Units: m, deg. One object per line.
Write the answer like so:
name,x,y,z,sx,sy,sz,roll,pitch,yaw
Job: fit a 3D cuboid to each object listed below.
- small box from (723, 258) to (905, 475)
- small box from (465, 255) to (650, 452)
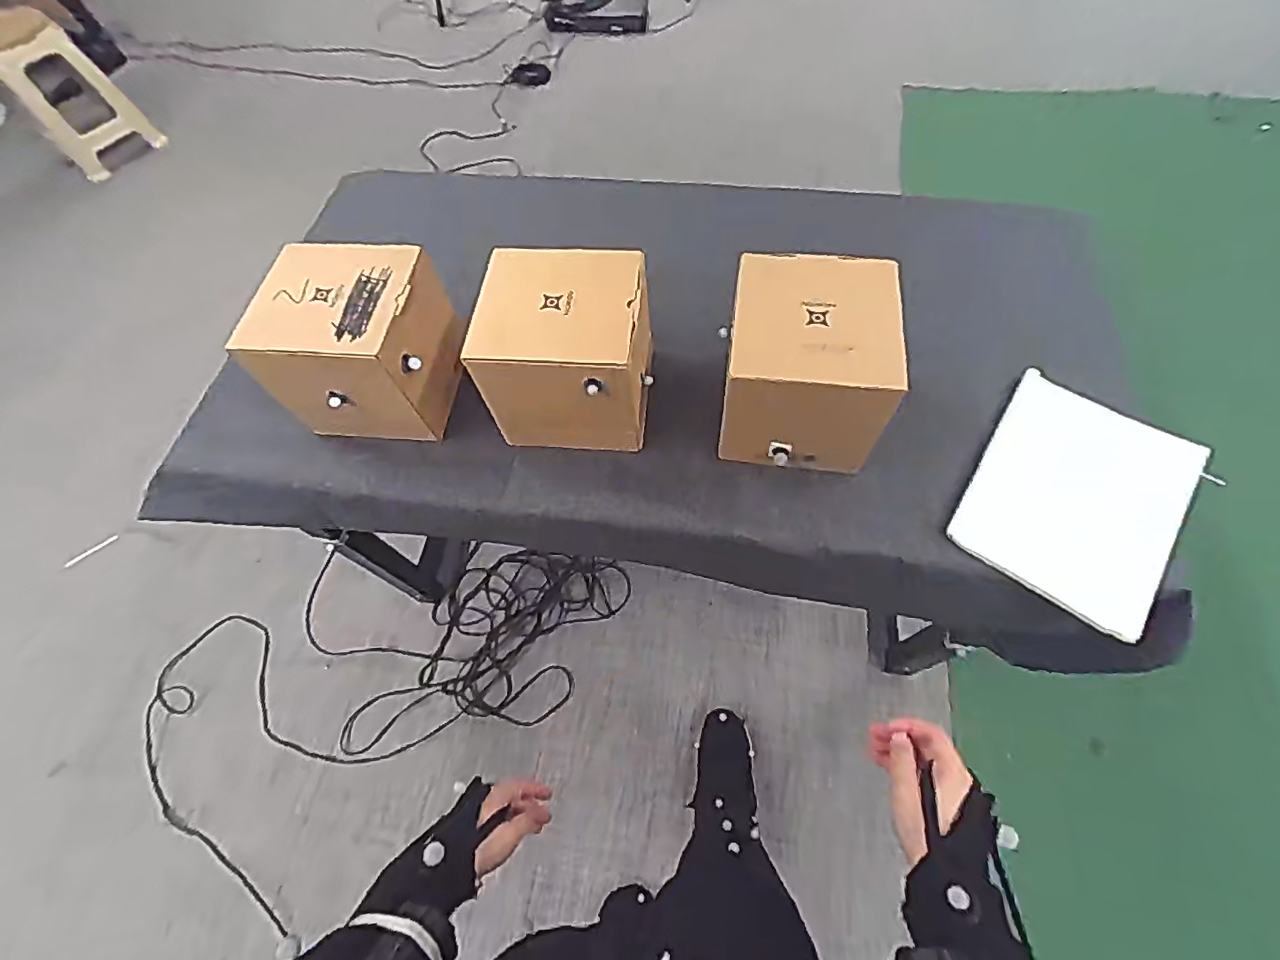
small box,0.186,-0.126,0.623,0.168,0.176,0.179,5,63,8
small box,-0.083,-0.146,0.653,0.179,0.176,0.168,3,62,5
